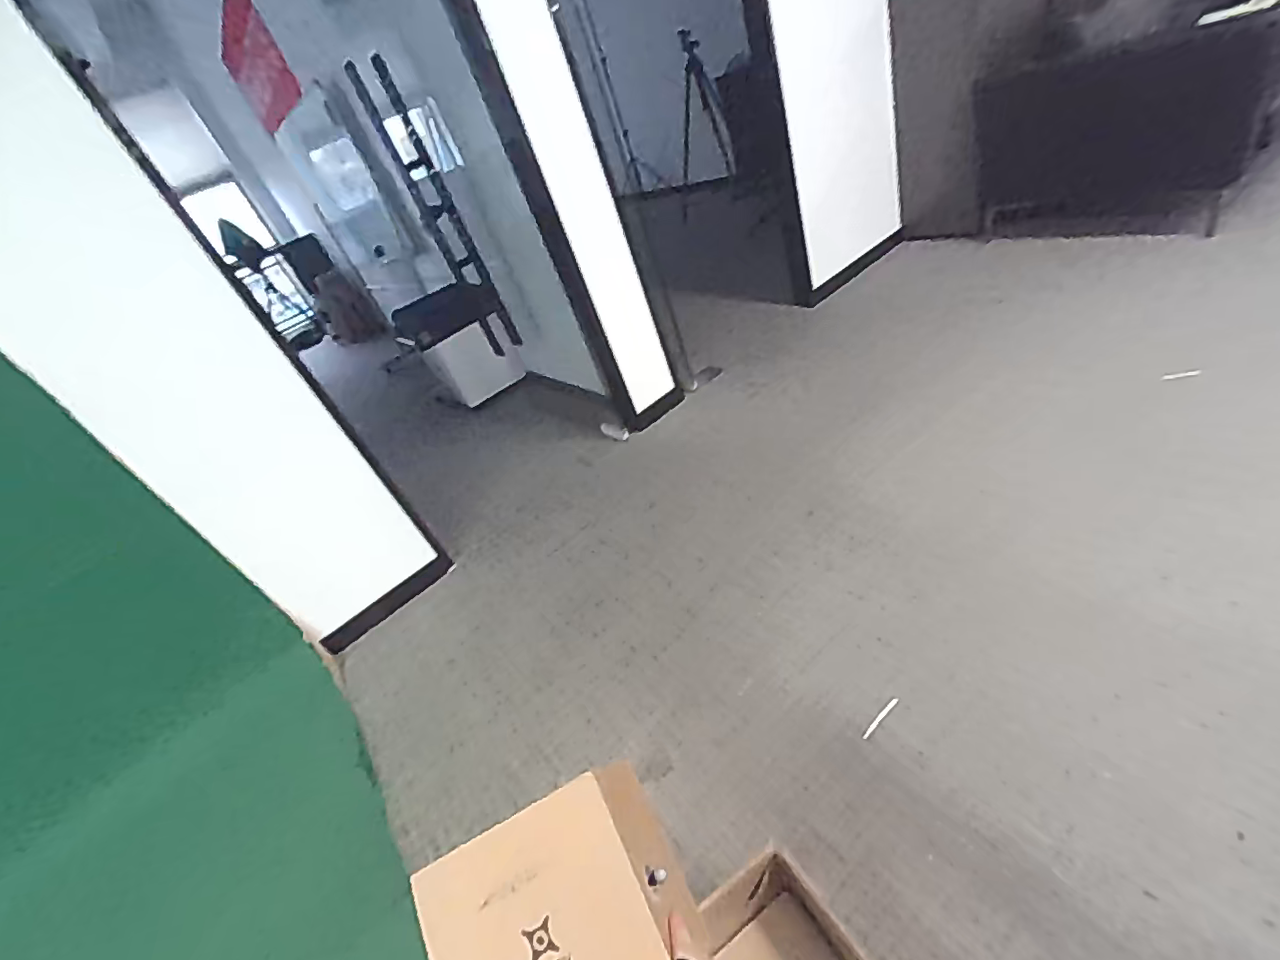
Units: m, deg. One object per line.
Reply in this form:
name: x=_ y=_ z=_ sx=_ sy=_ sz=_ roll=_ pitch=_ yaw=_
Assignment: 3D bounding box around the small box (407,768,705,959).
small box: x=-0.056 y=0.369 z=0.453 sx=0.168 sy=0.176 sz=0.179 roll=-28 pitch=64 yaw=-4
